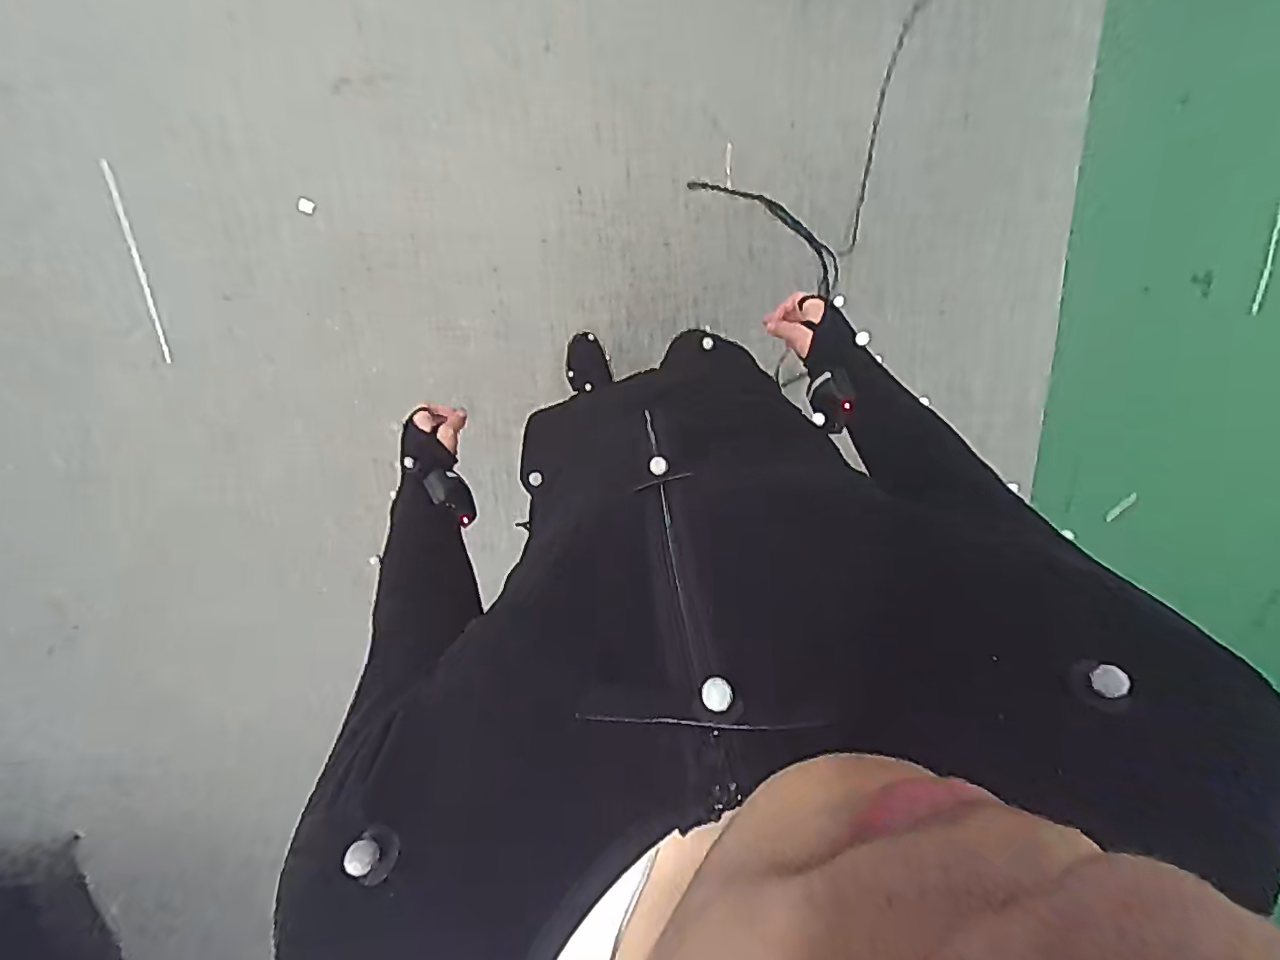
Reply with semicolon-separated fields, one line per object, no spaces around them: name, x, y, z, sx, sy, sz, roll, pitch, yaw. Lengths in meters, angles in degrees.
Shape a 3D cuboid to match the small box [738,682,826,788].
small box;0.343;0.630;1.341;0.168;0.176;0.179;1;104;-3
